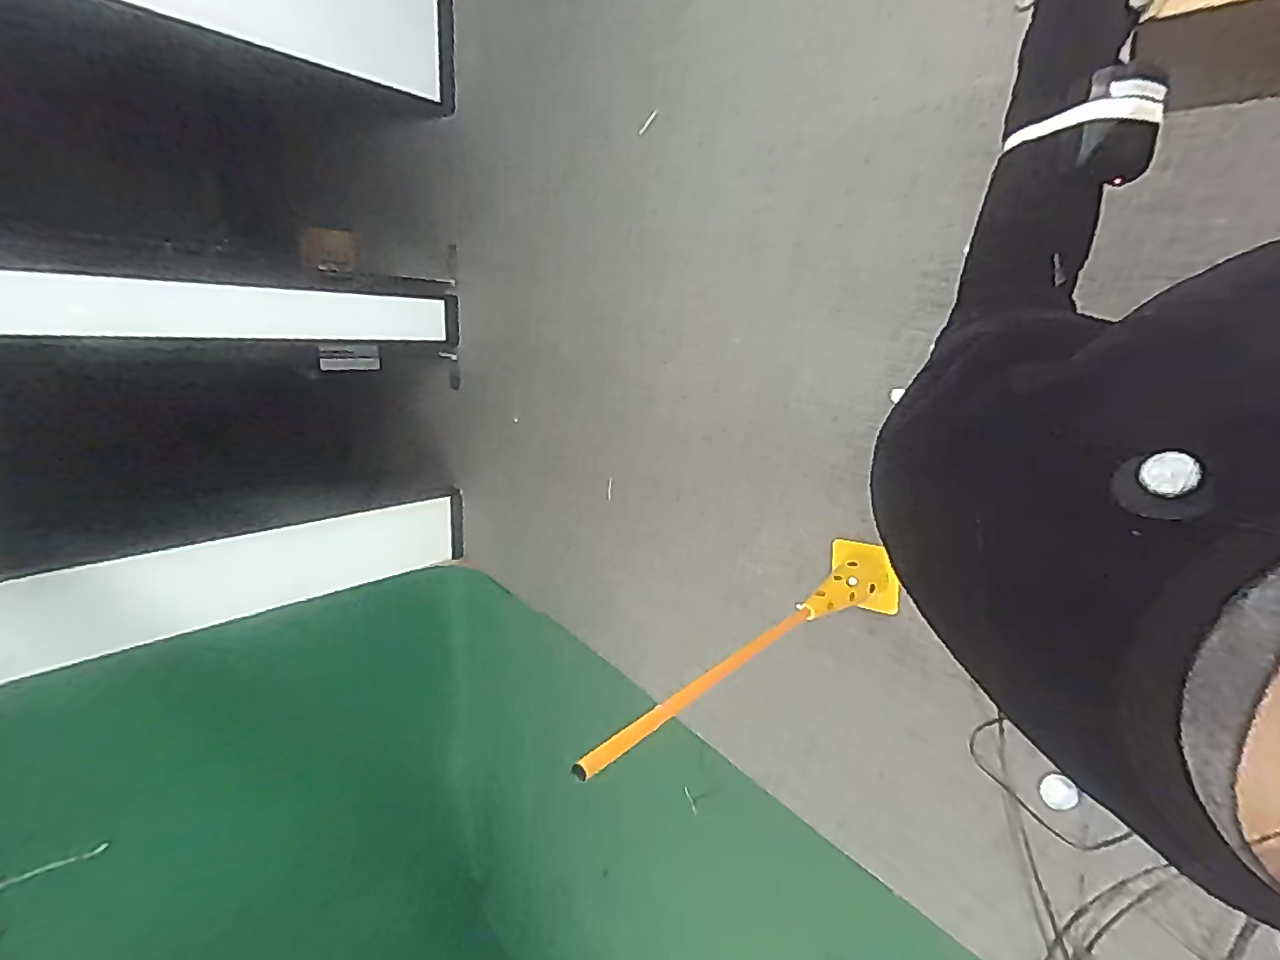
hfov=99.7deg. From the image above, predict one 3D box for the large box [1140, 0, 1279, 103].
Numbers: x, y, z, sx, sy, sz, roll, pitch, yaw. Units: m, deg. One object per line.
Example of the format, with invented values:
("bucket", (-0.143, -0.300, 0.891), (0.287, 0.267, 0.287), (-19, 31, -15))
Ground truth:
("large box", (0.586, -0.458, 0.299), (0.408, 0.320, 0.320), (16, 115, 38))
